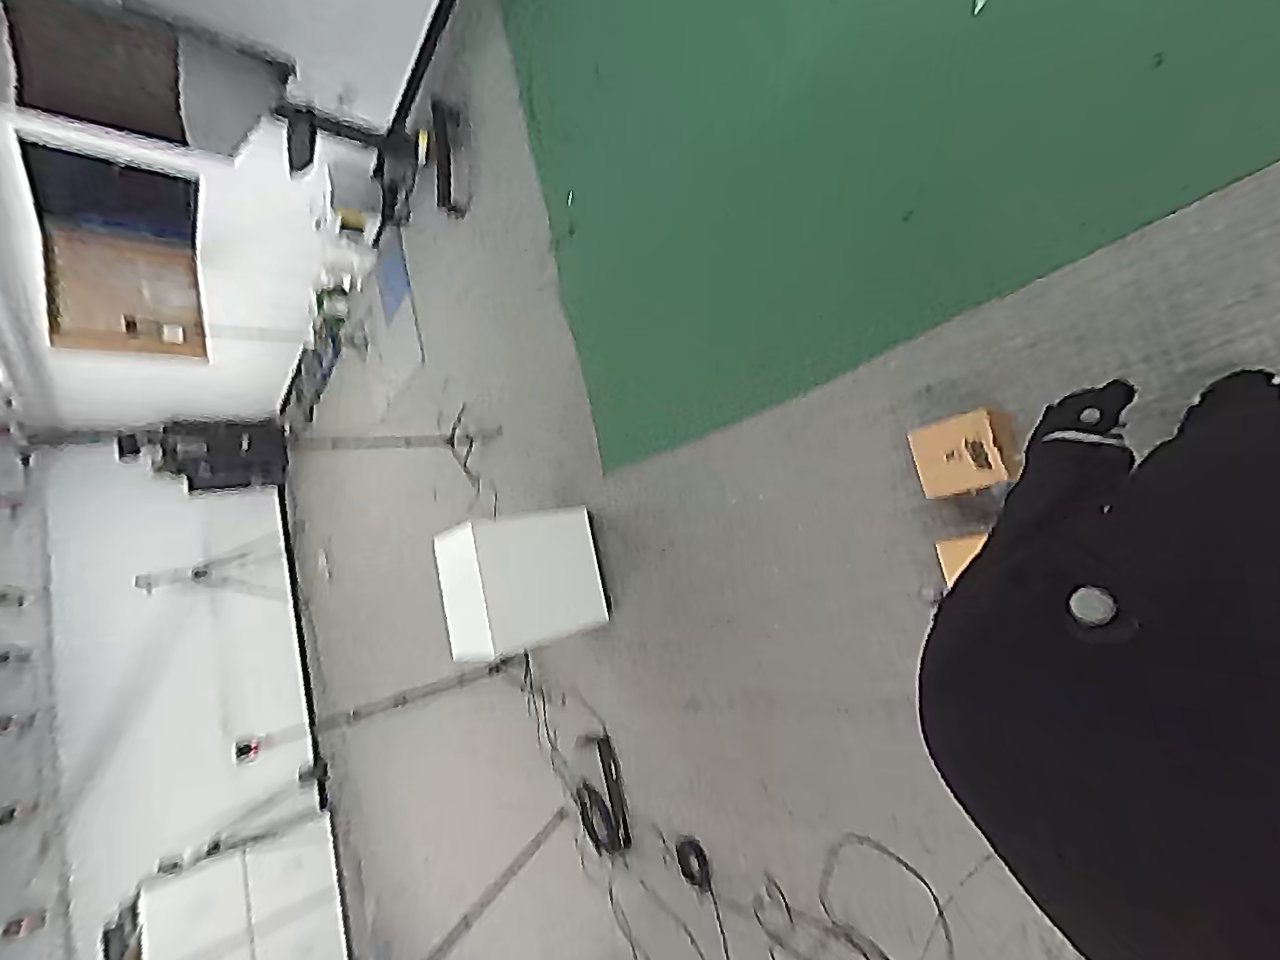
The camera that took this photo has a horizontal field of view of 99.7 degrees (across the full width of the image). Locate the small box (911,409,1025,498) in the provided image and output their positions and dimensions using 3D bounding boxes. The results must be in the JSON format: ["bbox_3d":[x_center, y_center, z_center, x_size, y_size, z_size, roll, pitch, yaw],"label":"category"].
[{"bbox_3d":[0.780,-0.063,1.277,0.179,0.176,0.168,-23,77,46],"label":"small box"}]

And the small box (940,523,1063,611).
[{"bbox_3d":[0.832,0.199,1.244,0.179,0.176,0.168,-22,77,45],"label":"small box"}]
